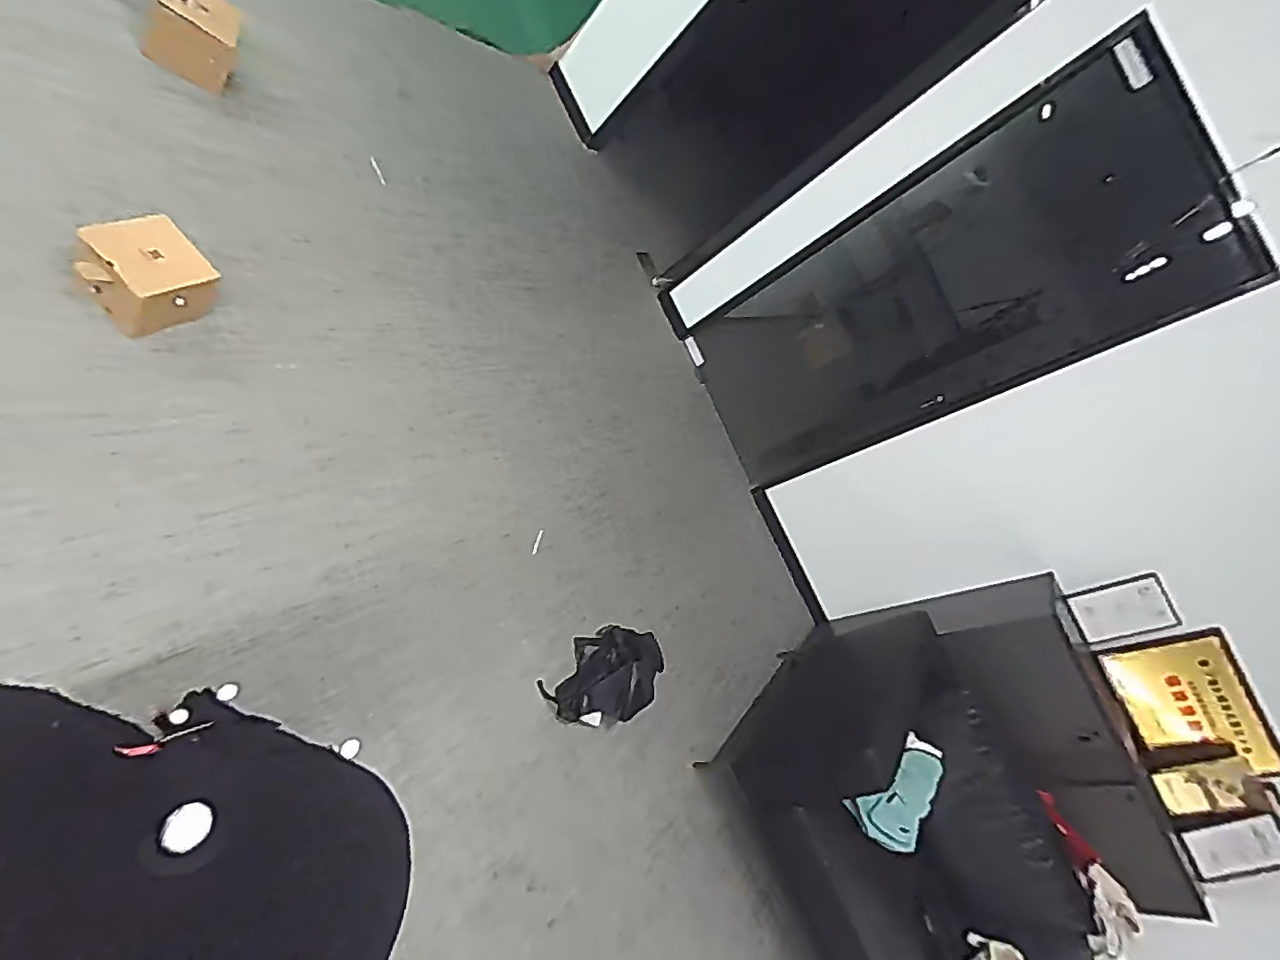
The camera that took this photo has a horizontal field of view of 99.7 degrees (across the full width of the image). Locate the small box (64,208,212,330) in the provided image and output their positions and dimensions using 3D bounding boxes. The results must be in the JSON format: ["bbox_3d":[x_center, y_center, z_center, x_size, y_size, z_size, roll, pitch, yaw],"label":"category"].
[{"bbox_3d":[-1.108,-0.463,1.193,0.168,0.176,0.179,52,40,-15],"label":"small box"}]
